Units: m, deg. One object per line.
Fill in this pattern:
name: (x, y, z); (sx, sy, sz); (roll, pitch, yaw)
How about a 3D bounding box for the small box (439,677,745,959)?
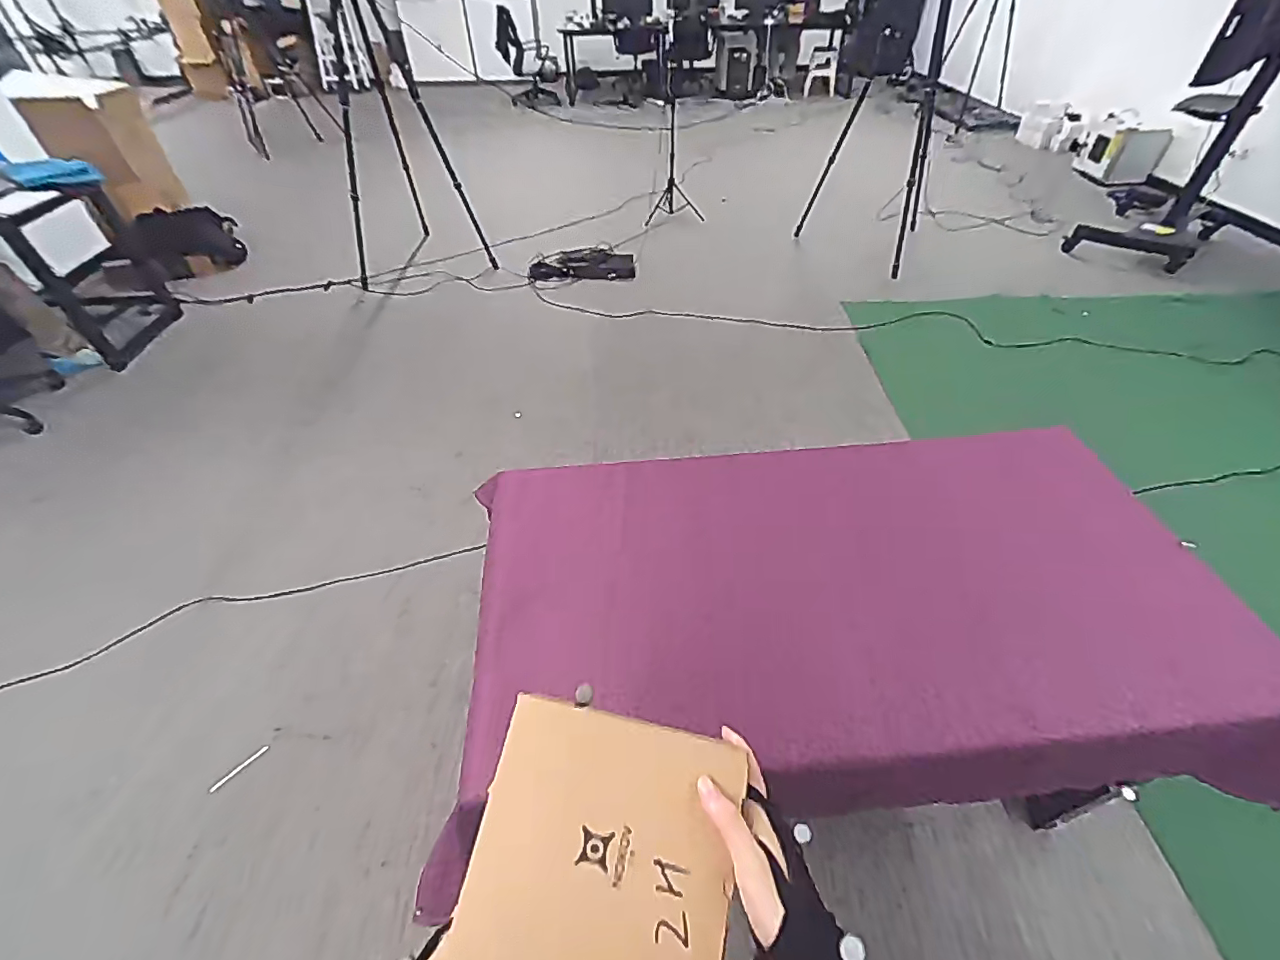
small box: (-0.028, 0.271, 0.441); (0.179, 0.176, 0.168); (13, 67, 4)
